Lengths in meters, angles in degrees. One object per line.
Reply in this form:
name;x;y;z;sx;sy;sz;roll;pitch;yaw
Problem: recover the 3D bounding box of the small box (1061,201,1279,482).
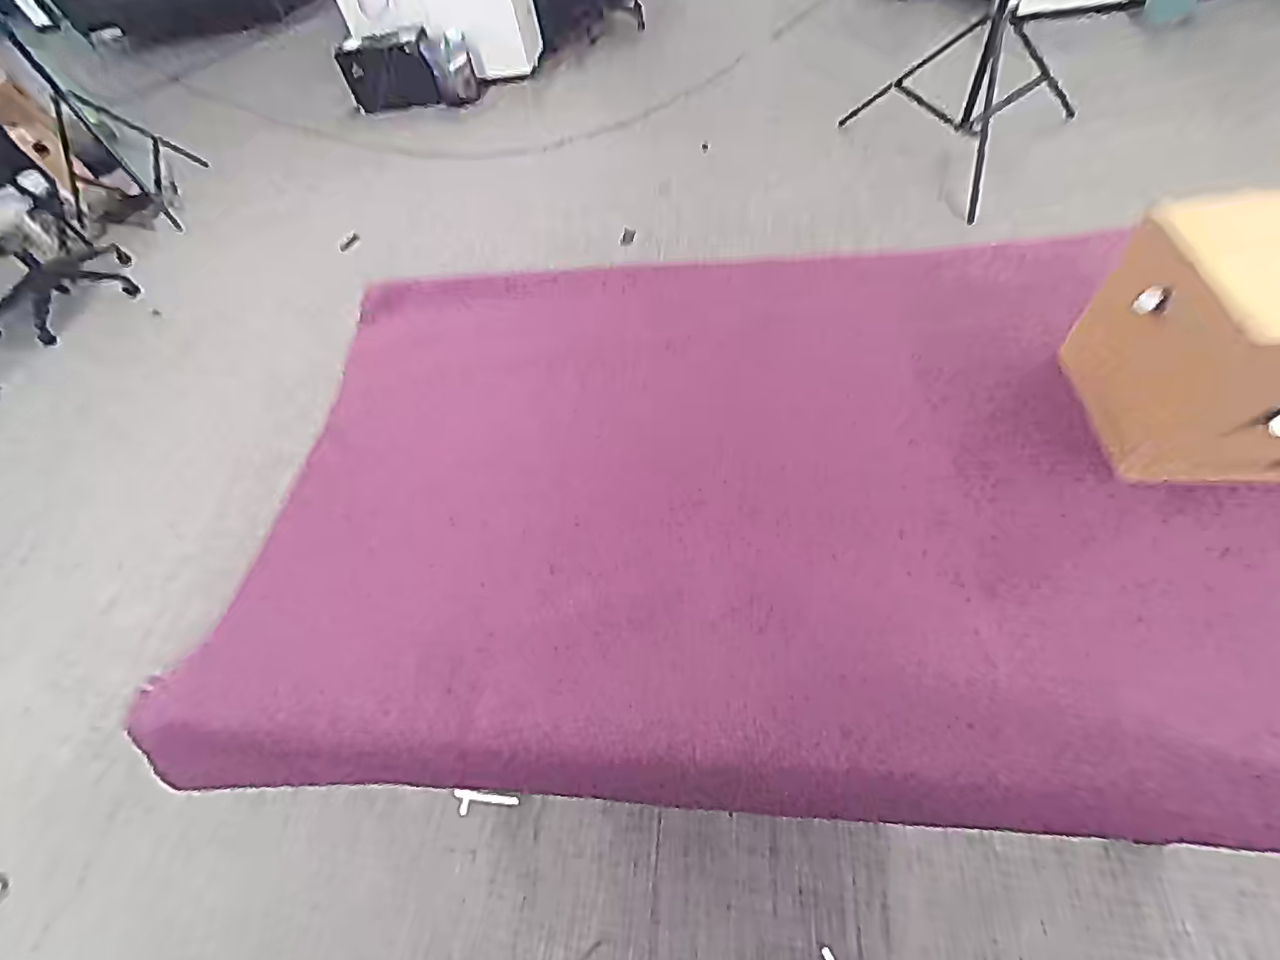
small box;0.511;-0.110;0.461;0.168;0.176;0.179;0;54;11
